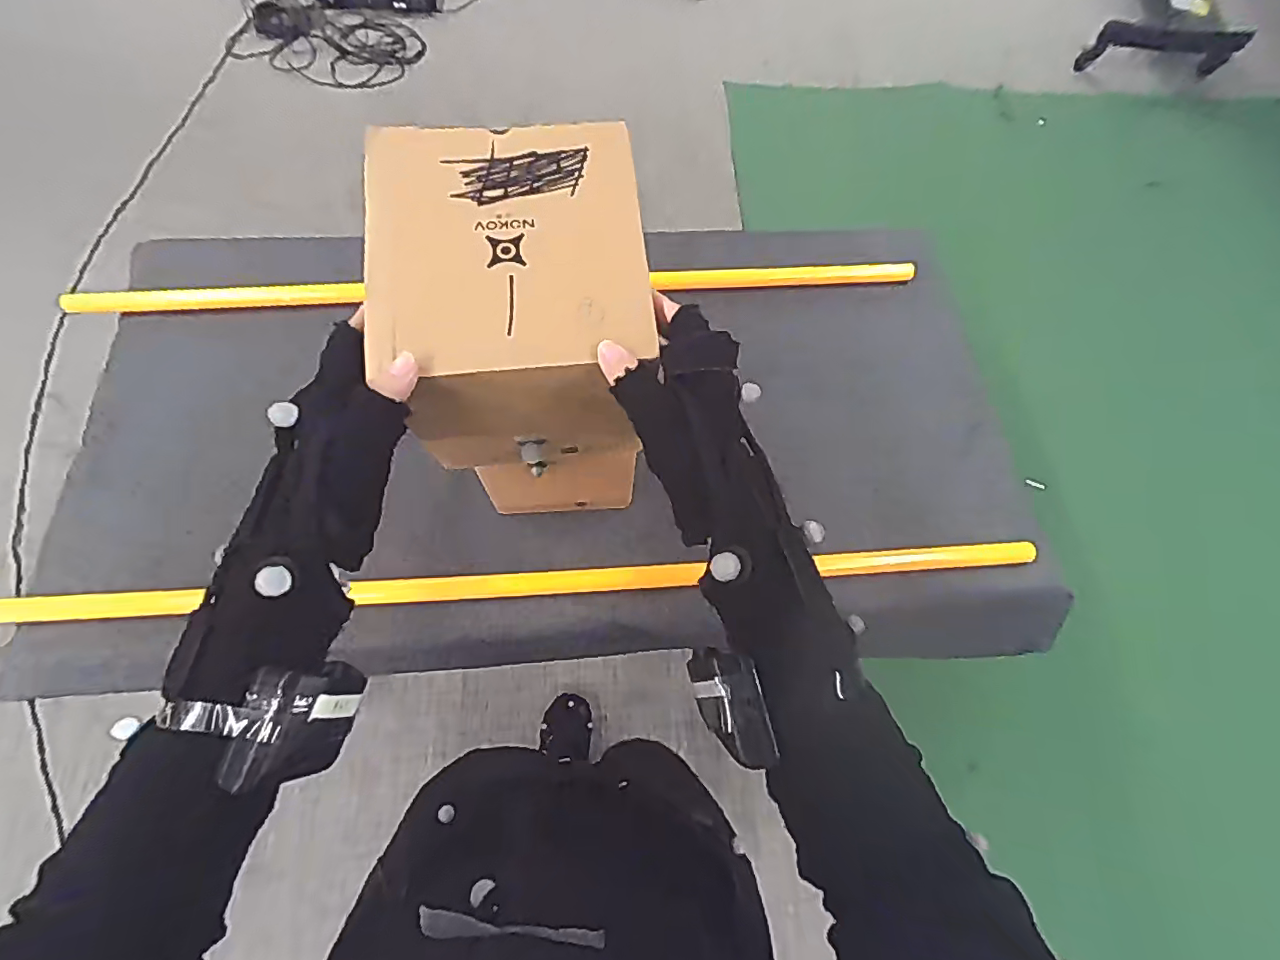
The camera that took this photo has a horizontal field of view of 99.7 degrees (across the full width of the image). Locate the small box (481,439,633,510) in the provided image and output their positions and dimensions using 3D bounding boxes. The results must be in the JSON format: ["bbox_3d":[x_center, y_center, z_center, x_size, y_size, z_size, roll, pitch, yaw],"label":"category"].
[{"bbox_3d":[-0.098,-0.077,0.642,0.168,0.176,0.179,-3,67,-4],"label":"small box"}]

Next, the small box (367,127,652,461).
[{"bbox_3d":[-0.087,-0.126,0.411,0.168,0.176,0.179,-5,75,-5],"label":"small box"}]
